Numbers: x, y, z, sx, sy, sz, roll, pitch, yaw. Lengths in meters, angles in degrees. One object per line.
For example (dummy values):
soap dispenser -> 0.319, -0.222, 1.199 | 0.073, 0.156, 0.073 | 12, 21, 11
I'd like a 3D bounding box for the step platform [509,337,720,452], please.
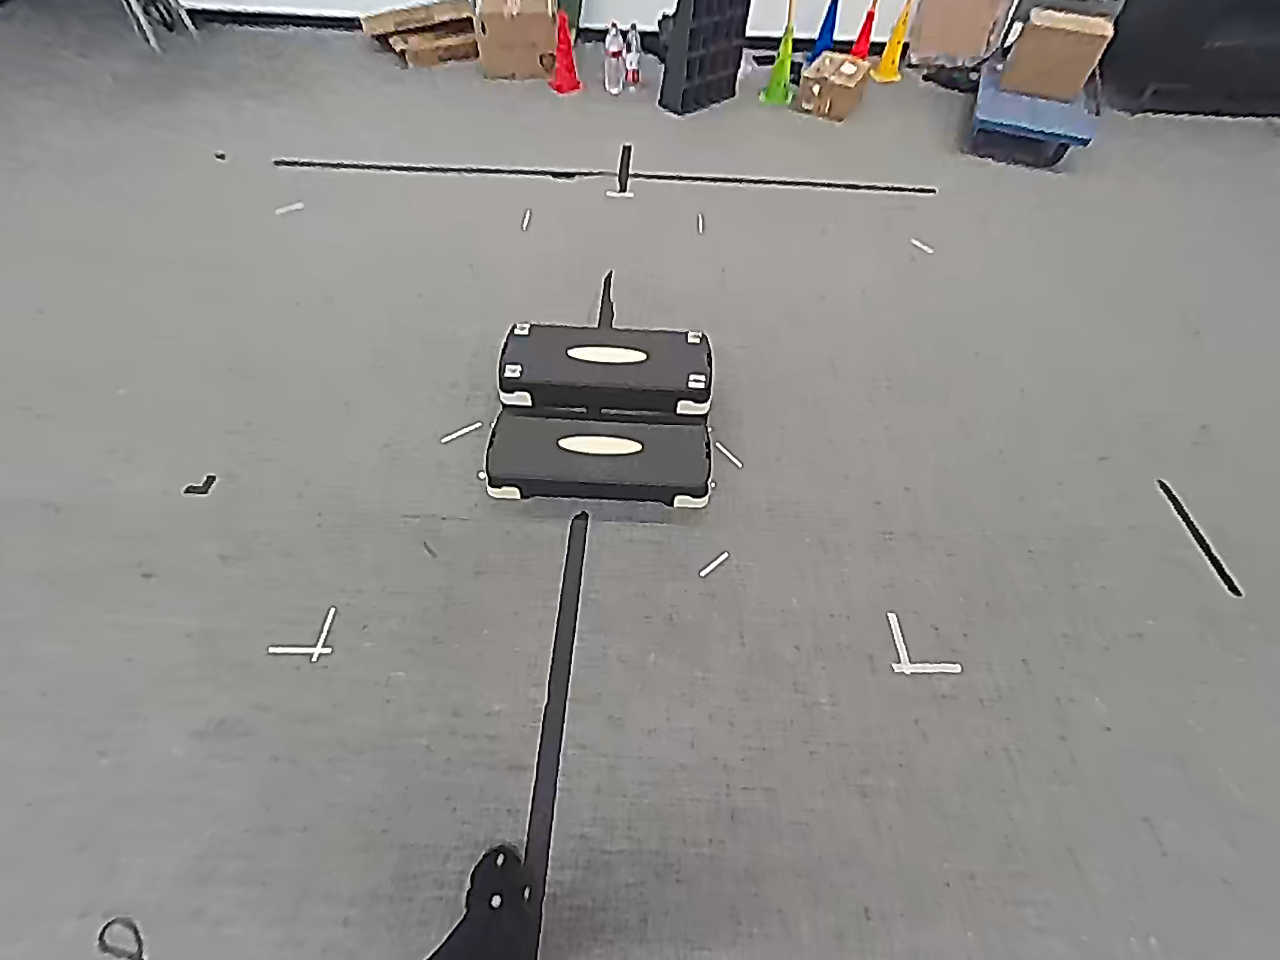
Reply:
step platform -> -0.080, -0.286, 1.789 | 0.684, 0.204, 0.286 | 7, 53, 2
